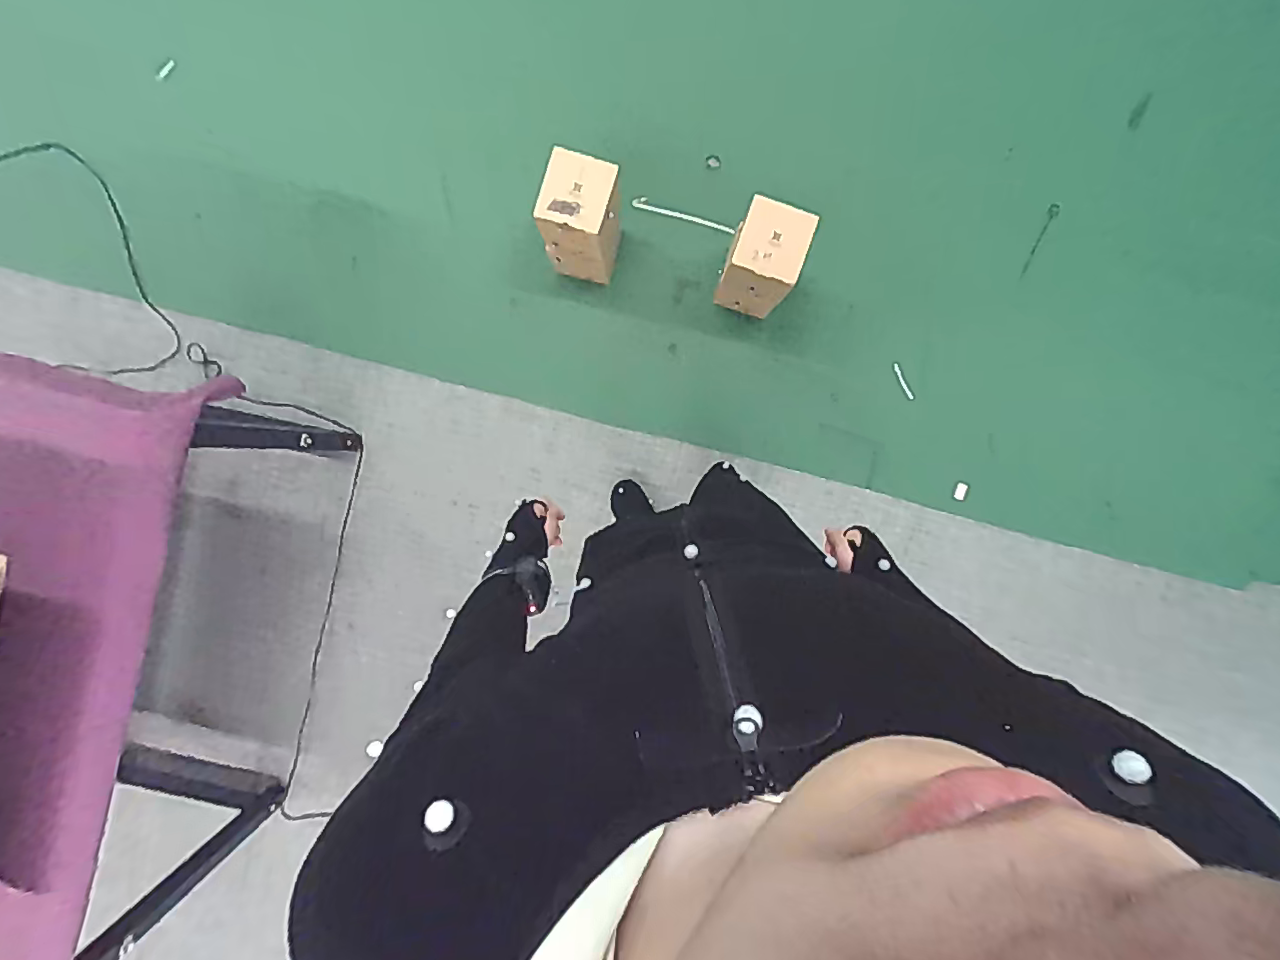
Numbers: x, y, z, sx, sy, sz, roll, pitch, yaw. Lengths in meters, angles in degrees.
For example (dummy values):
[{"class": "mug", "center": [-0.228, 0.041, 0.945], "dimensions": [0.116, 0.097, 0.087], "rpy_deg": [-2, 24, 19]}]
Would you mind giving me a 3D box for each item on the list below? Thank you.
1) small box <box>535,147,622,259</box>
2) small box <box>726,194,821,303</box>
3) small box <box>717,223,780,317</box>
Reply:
[{"class": "small box", "center": [-0.147, -0.686, 1.363], "dimensions": [0.168, 0.176, 0.179], "rpy_deg": [18, 90, 1]}, {"class": "small box", "center": [0.325, -0.573, 1.361], "dimensions": [0.168, 0.176, 0.179], "rpy_deg": [20, 93, 0]}, {"class": "small box", "center": [0.325, -0.585, 1.526], "dimensions": [0.168, 0.176, 0.179], "rpy_deg": [18, 93, 0]}]
